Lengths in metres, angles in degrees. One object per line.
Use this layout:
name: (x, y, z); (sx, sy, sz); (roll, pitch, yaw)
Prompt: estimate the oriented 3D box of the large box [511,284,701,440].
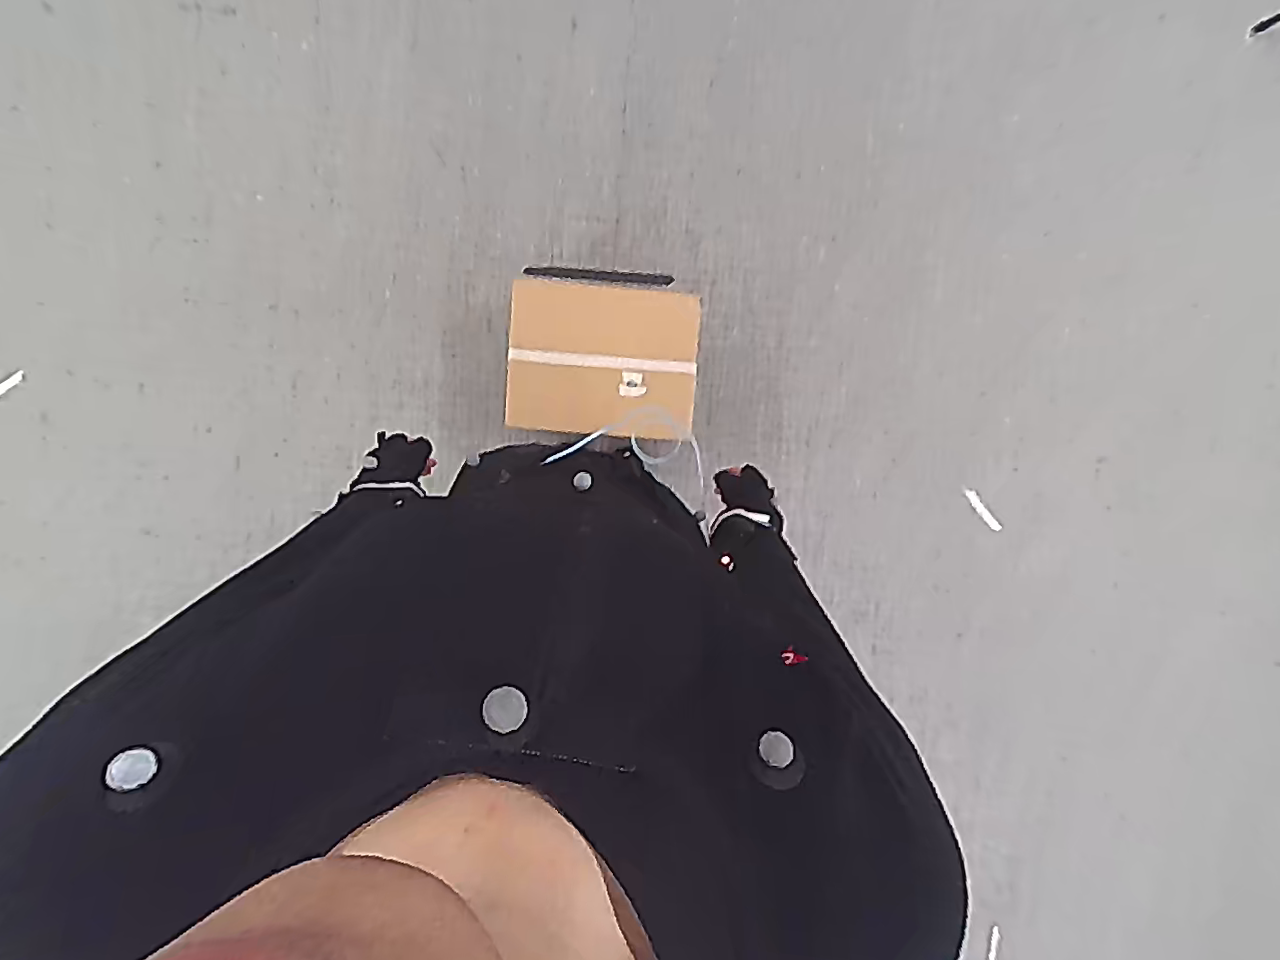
large box: (-0.085, -0.264, 1.320); (0.408, 0.320, 0.320); (4, 94, -4)
